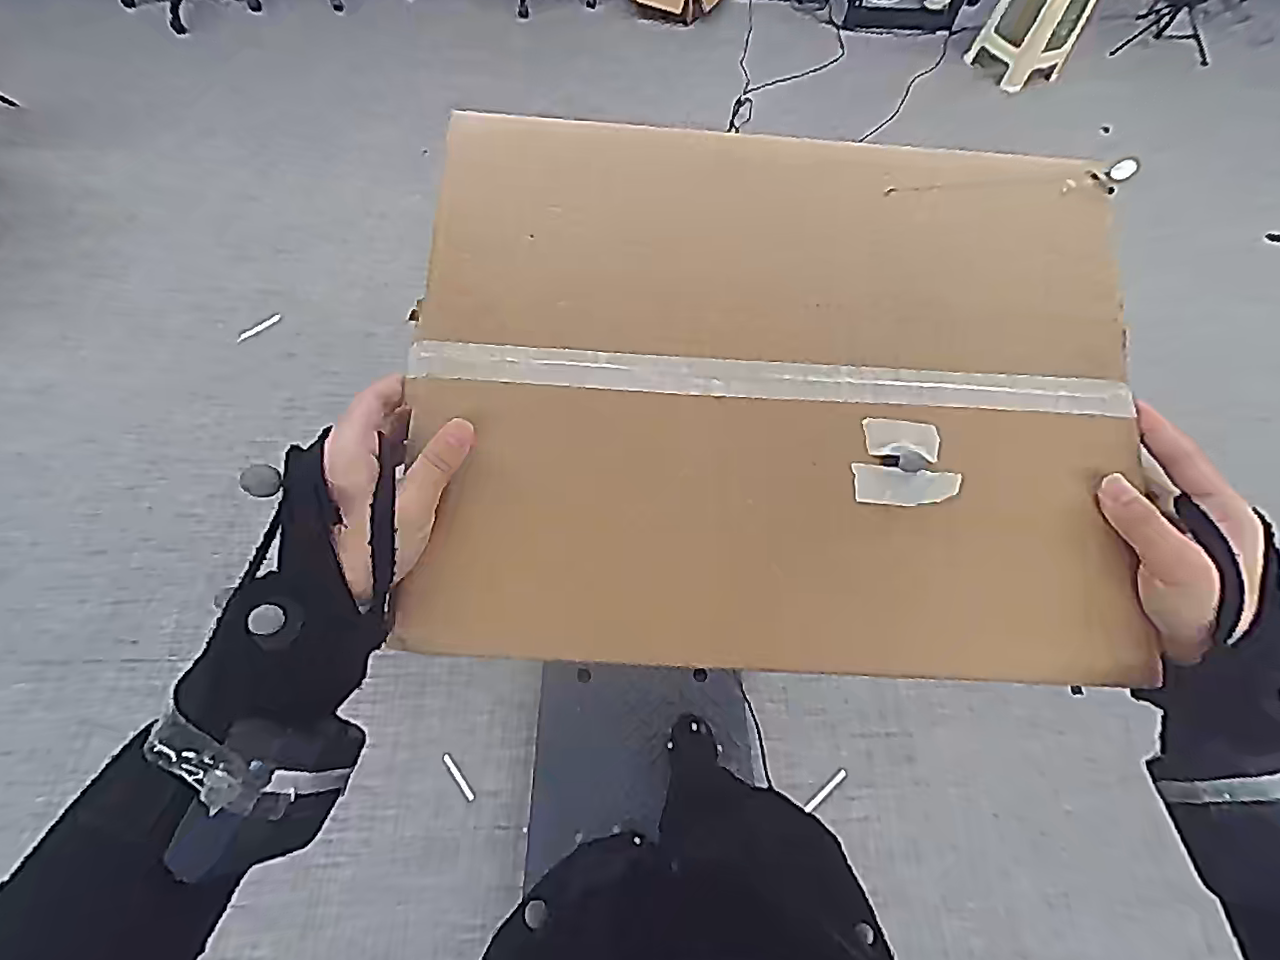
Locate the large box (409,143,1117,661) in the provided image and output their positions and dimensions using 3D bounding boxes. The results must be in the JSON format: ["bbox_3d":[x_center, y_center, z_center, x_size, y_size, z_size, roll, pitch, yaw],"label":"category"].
[{"bbox_3d":[0.069,-0.030,0.468,0.408,0.320,0.320,3,81,-2],"label":"large box"}]
